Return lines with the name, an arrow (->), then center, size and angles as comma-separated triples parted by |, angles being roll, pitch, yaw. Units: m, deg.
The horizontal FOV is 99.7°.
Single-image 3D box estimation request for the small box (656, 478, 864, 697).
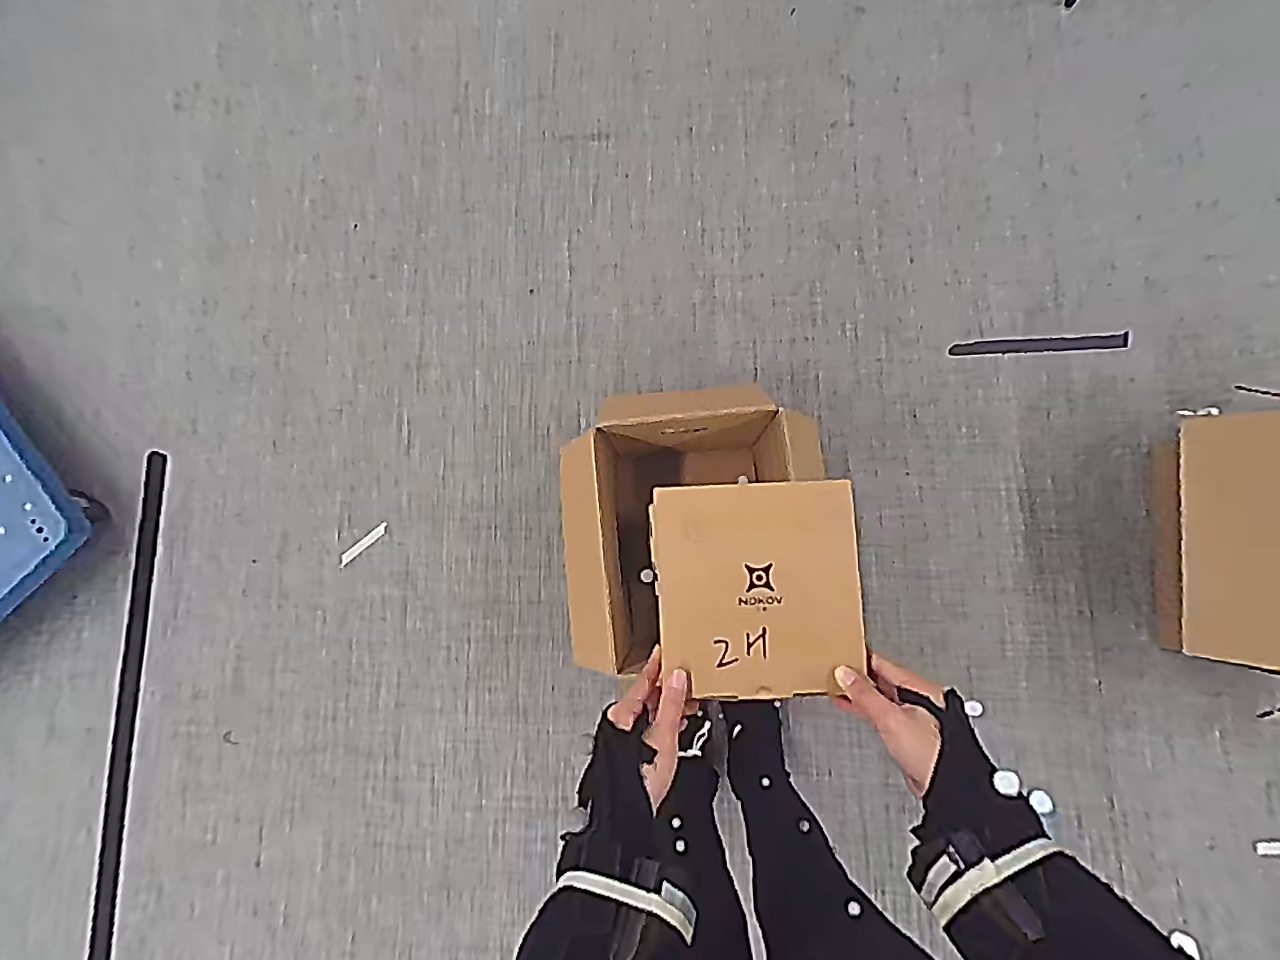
small box -> 0.099, 0.097, 0.524 | 0.168, 0.176, 0.179 | -2, 84, 3
